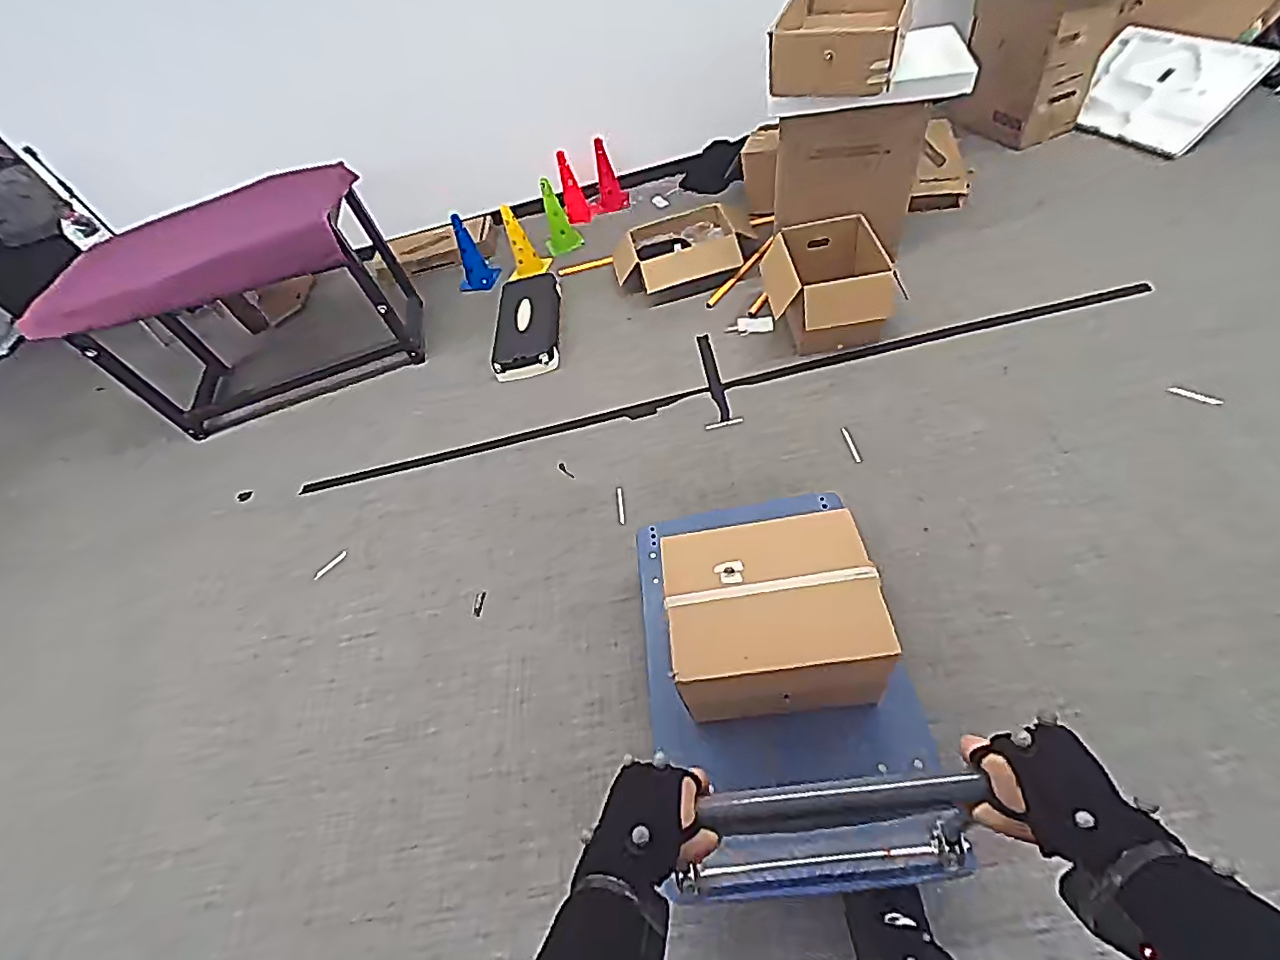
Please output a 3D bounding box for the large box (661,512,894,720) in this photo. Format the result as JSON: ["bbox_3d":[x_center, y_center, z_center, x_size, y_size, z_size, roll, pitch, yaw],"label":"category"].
[{"bbox_3d":[0.284,0.311,1.193,0.408,0.320,0.320,-11,51,8],"label":"large box"}]
